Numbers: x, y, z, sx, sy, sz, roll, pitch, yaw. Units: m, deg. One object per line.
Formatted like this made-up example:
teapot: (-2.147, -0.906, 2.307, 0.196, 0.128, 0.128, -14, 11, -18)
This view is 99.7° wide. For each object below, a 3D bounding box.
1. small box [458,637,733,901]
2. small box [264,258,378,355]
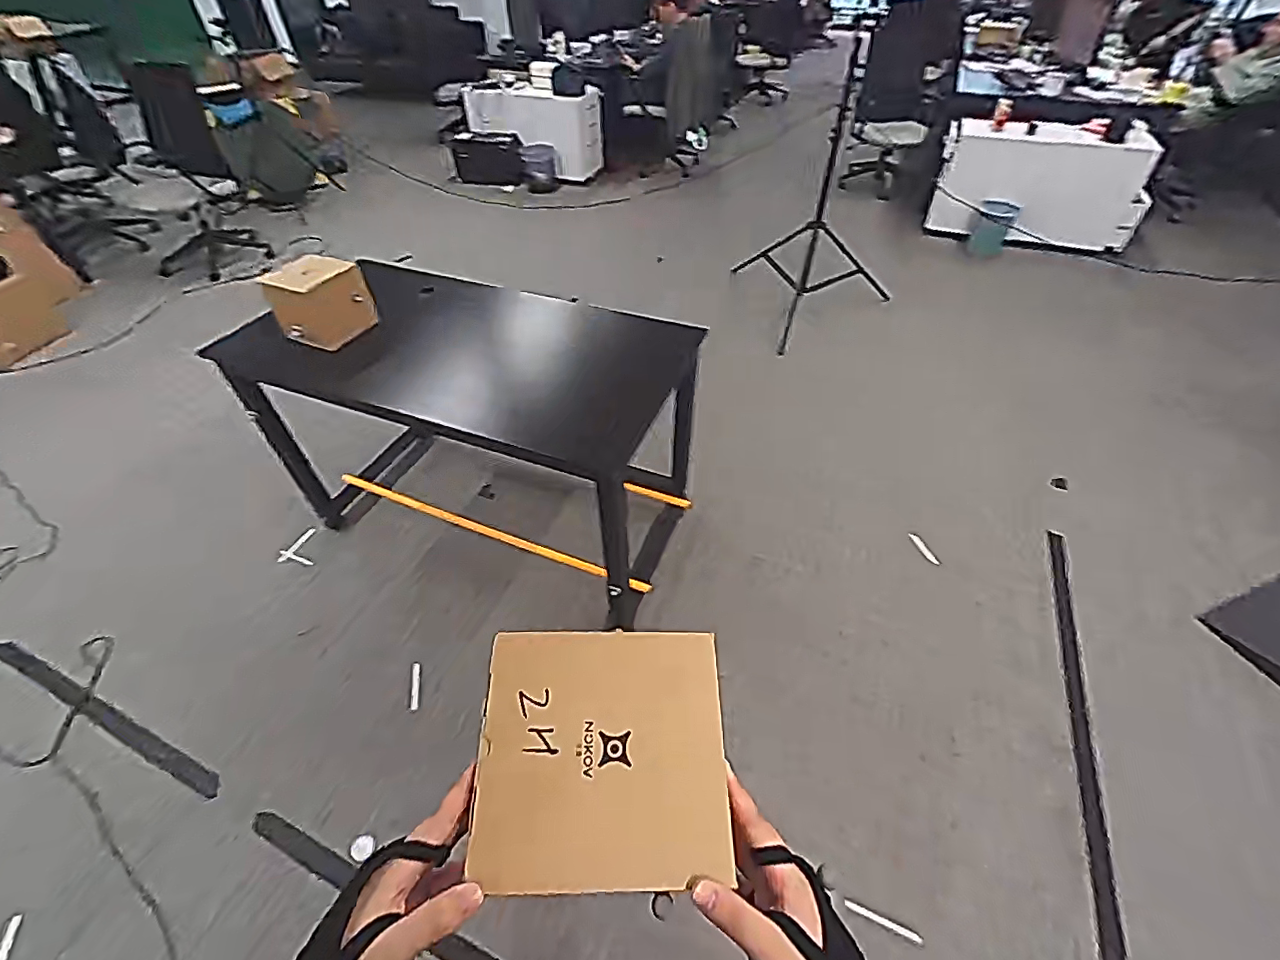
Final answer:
small box: (-0.032, 0.236, 0.448, 0.179, 0.176, 0.168, 0, 56, -3)
small box: (-0.827, -0.458, 1.429, 0.168, 0.176, 0.179, 16, 49, 18)
